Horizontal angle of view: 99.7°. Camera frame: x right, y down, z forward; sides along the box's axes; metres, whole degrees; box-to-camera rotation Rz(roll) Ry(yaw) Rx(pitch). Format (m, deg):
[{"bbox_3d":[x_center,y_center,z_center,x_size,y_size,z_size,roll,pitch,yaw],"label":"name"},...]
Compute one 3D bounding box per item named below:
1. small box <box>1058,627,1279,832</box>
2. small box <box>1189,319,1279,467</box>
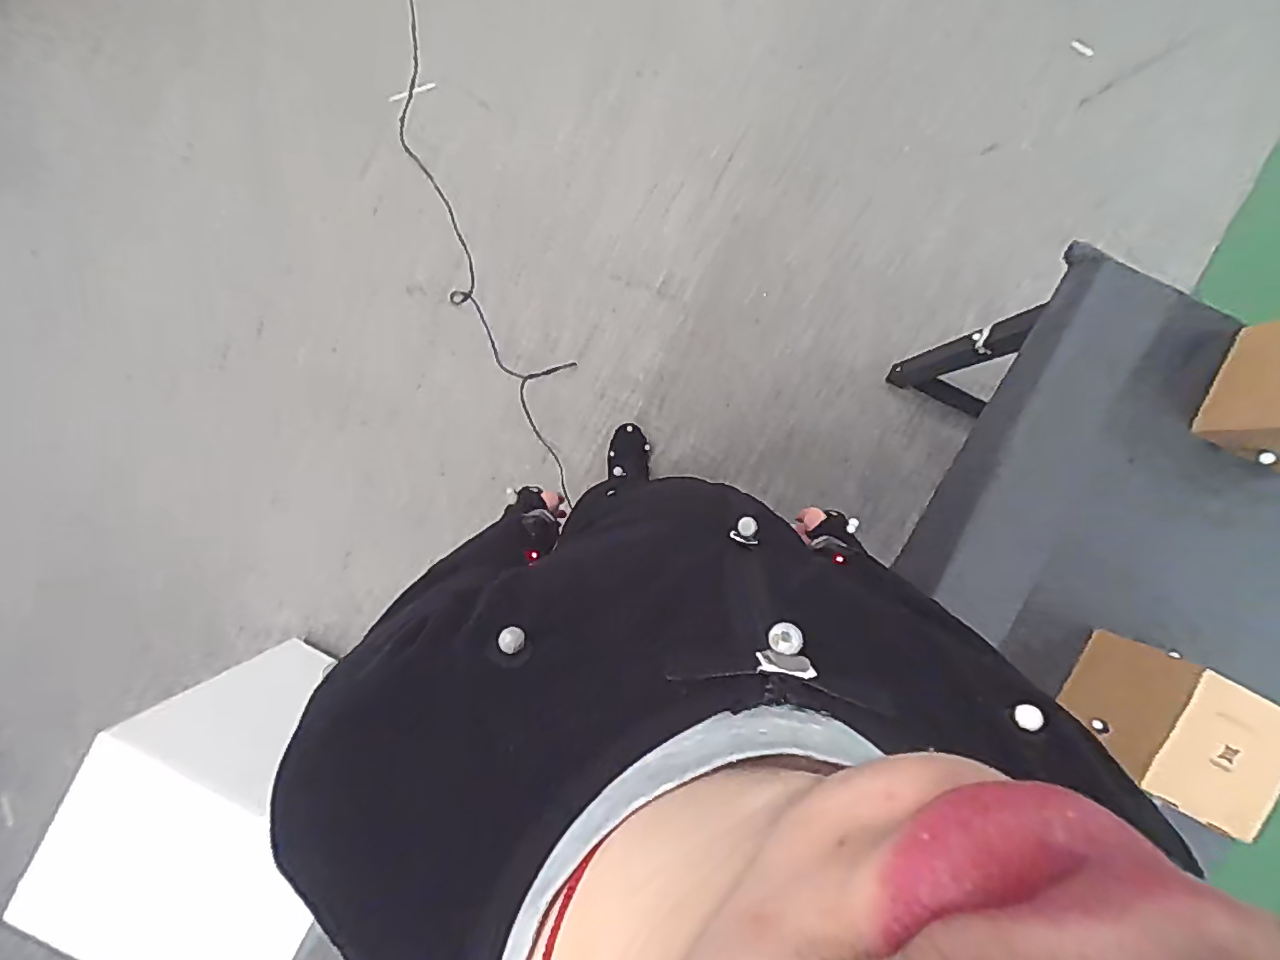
[{"bbox_3d":[0.750,0.337,0.765,0.168,0.176,0.179,26,89,-4],"label":"small box"},{"bbox_3d":[0.950,-0.126,0.761,0.168,0.176,0.179,24,91,-2],"label":"small box"}]
